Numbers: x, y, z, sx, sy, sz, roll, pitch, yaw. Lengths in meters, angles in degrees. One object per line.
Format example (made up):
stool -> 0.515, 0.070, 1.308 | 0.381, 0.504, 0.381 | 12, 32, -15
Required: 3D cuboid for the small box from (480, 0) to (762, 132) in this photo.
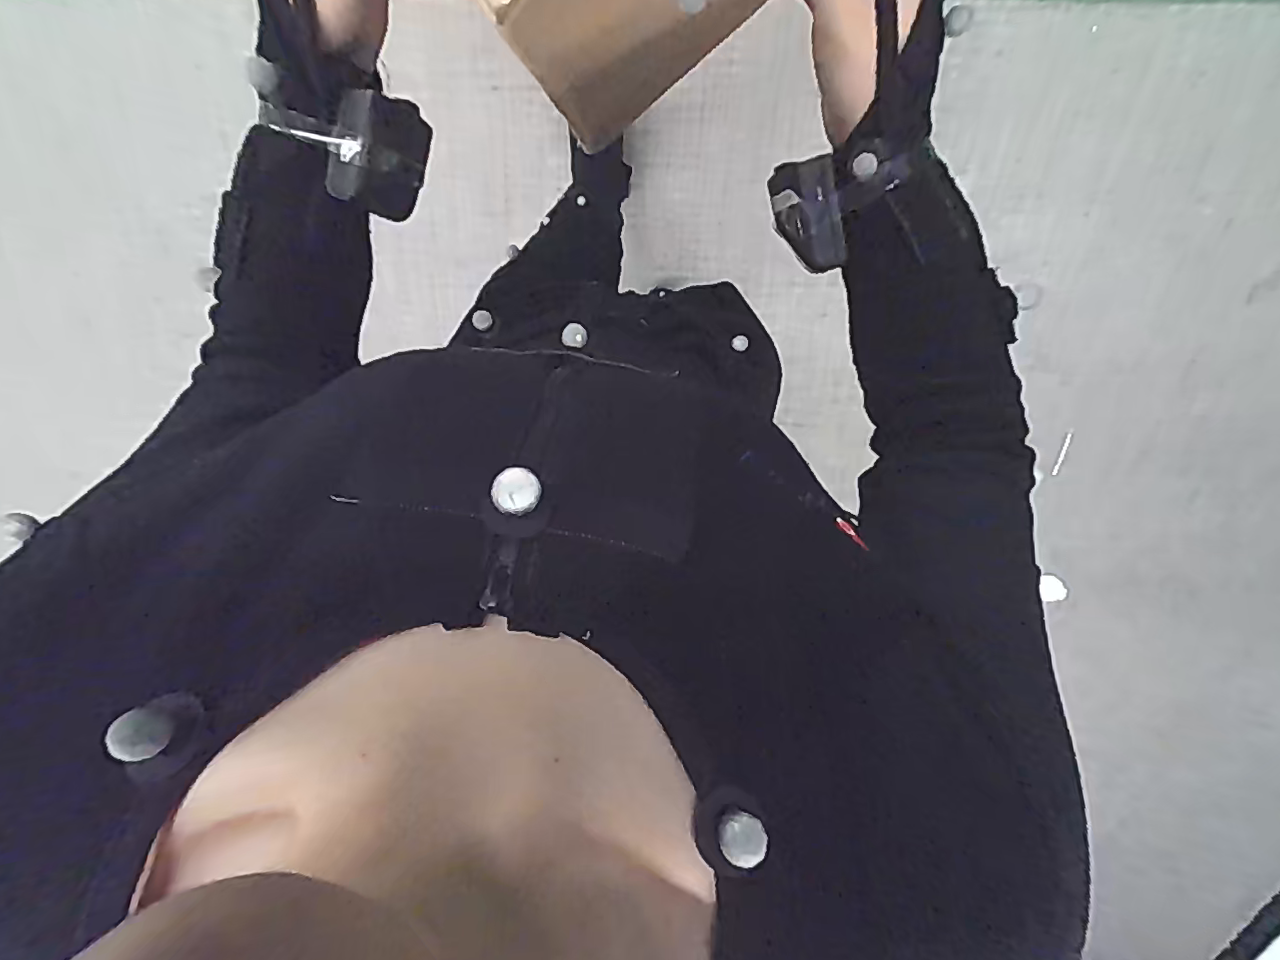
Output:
small box -> -0.015, -0.292, 0.226 | 0.179, 0.176, 0.168 | -34, 101, 16
